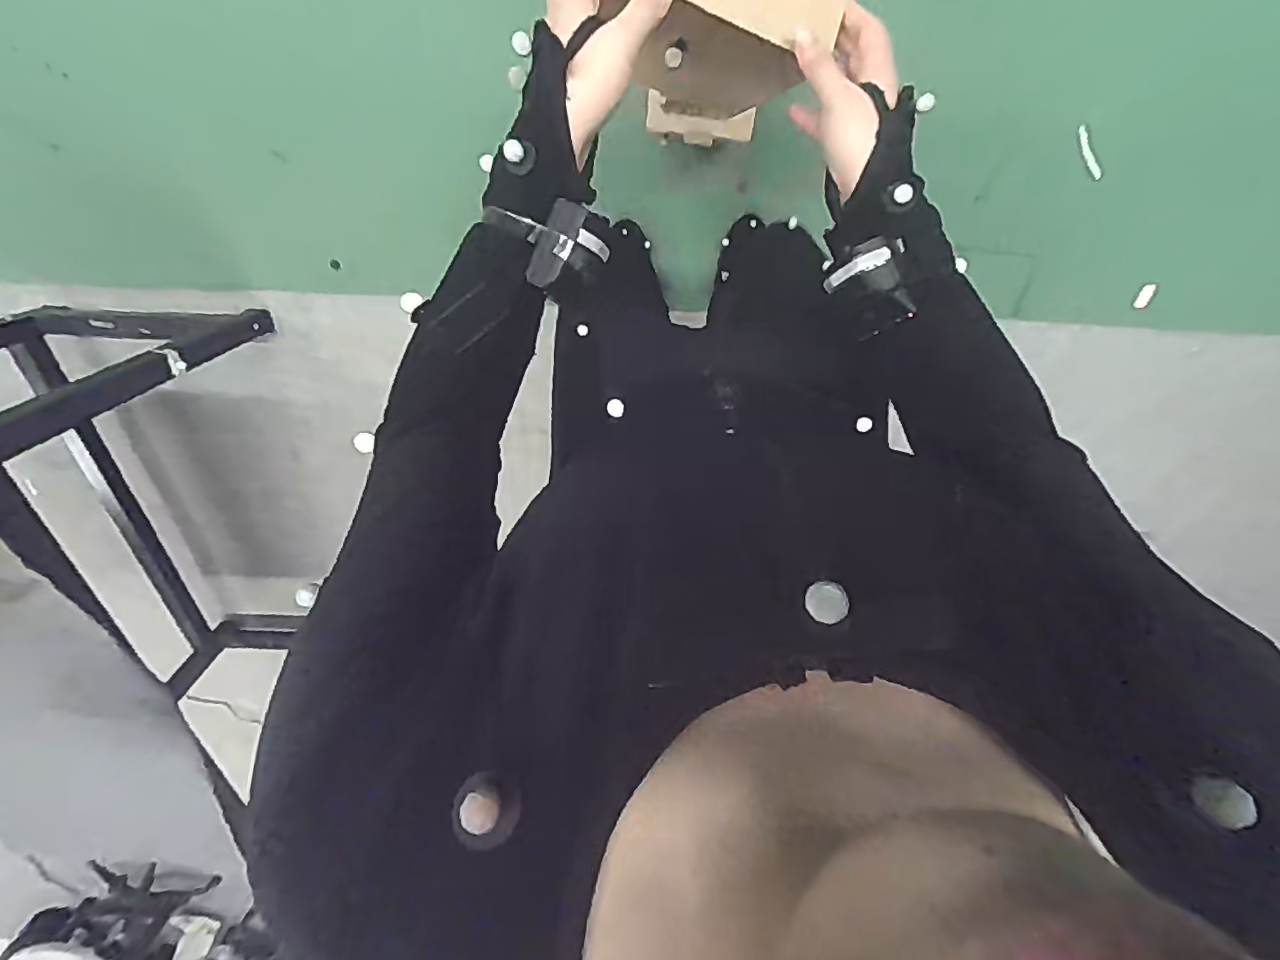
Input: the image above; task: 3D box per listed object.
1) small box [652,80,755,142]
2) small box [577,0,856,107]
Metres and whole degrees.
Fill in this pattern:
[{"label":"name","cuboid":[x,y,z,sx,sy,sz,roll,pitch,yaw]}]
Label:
[{"label":"small box","cuboid":[0.119,-0.731,0.997,0.179,0.176,0.168,6,122,-1]},{"label":"small box","cuboid":[0.059,-0.419,0.413,0.179,0.176,0.168,6,109,-21]}]
